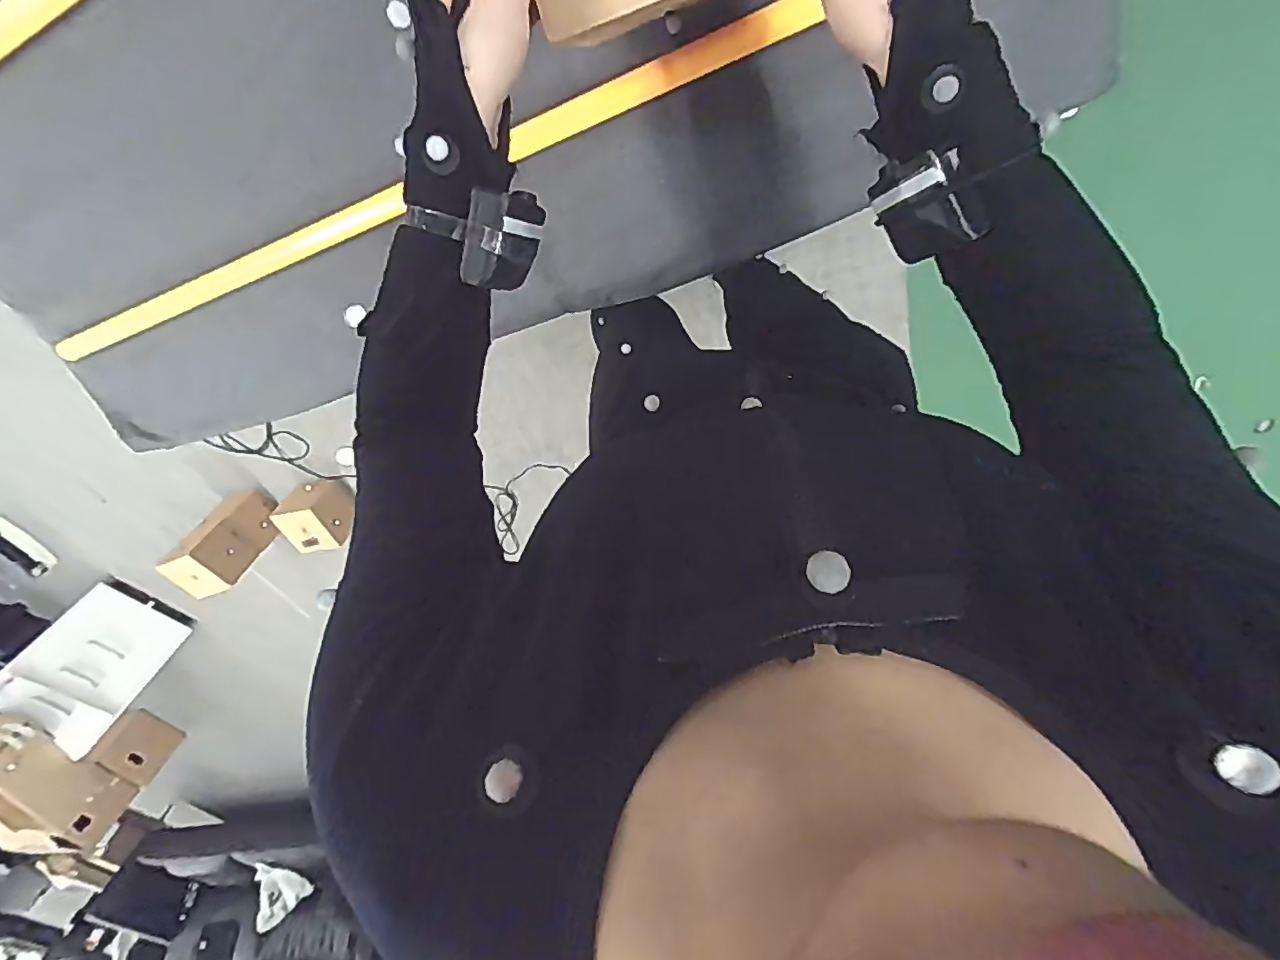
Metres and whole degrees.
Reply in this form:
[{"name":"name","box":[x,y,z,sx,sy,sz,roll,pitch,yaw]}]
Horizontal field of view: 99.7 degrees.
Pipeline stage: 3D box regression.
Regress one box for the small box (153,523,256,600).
[{"name":"small box","box":[-1.411,0.263,1.768,0.179,0.176,0.168,-17,125,20]}]

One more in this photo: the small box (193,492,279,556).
[{"name":"small box","box":[-1.403,0.166,1.901,0.179,0.176,0.168,-16,126,19]}]

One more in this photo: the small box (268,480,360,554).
[{"name":"small box","box":[-1.095,0.125,1.834,0.168,0.176,0.179,-9,126,13]}]
